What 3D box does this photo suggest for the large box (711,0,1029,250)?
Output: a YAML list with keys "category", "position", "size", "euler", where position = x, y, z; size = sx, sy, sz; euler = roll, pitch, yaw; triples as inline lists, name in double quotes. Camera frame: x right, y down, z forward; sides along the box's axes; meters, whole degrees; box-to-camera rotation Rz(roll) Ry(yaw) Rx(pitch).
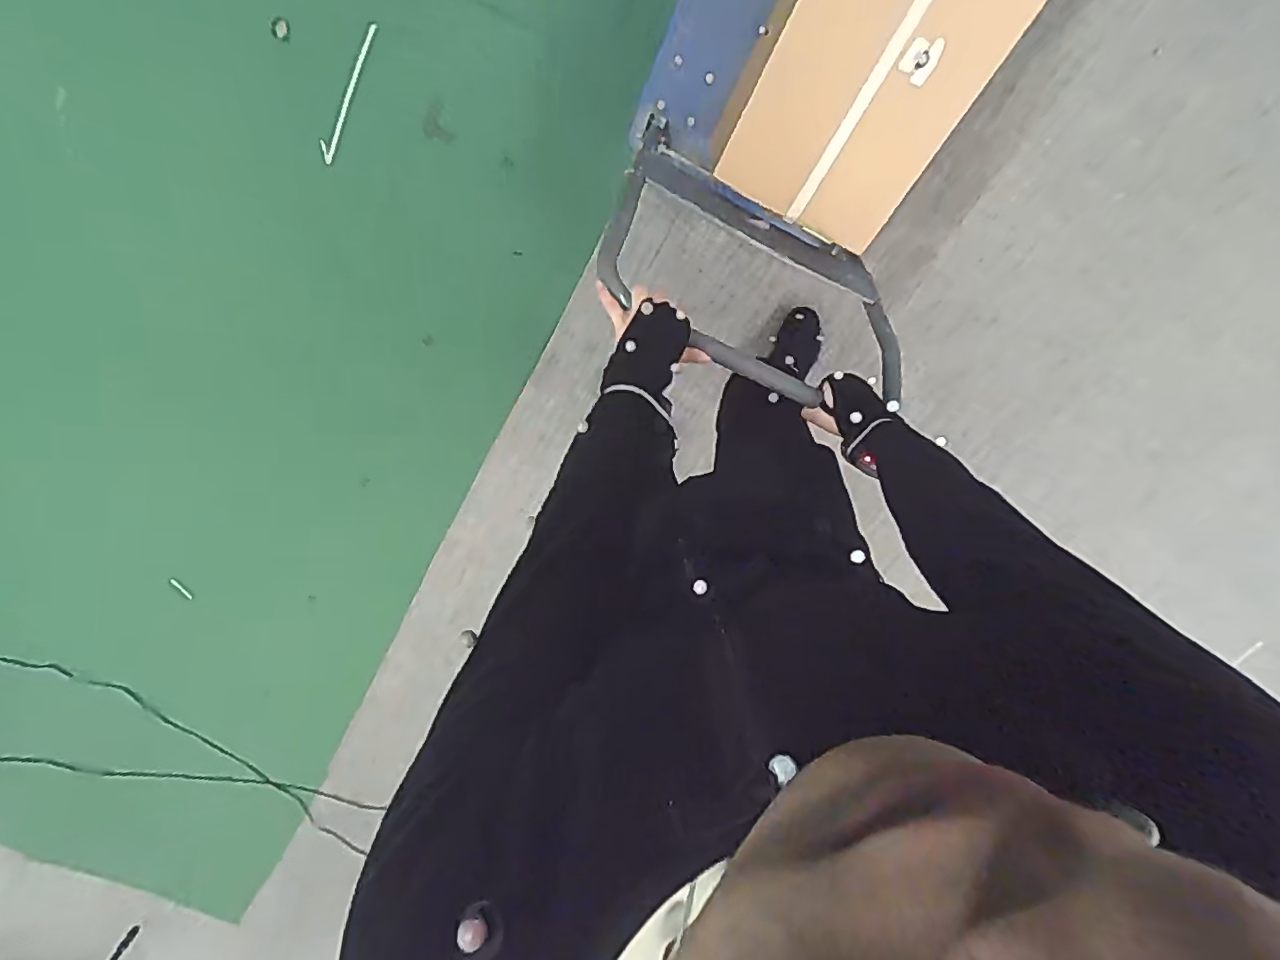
- category: "large box"
  position: [0.352, -0.706, 0.963]
  size: [0.320, 0.320, 0.408]
  euler: [22, 130, -13]
